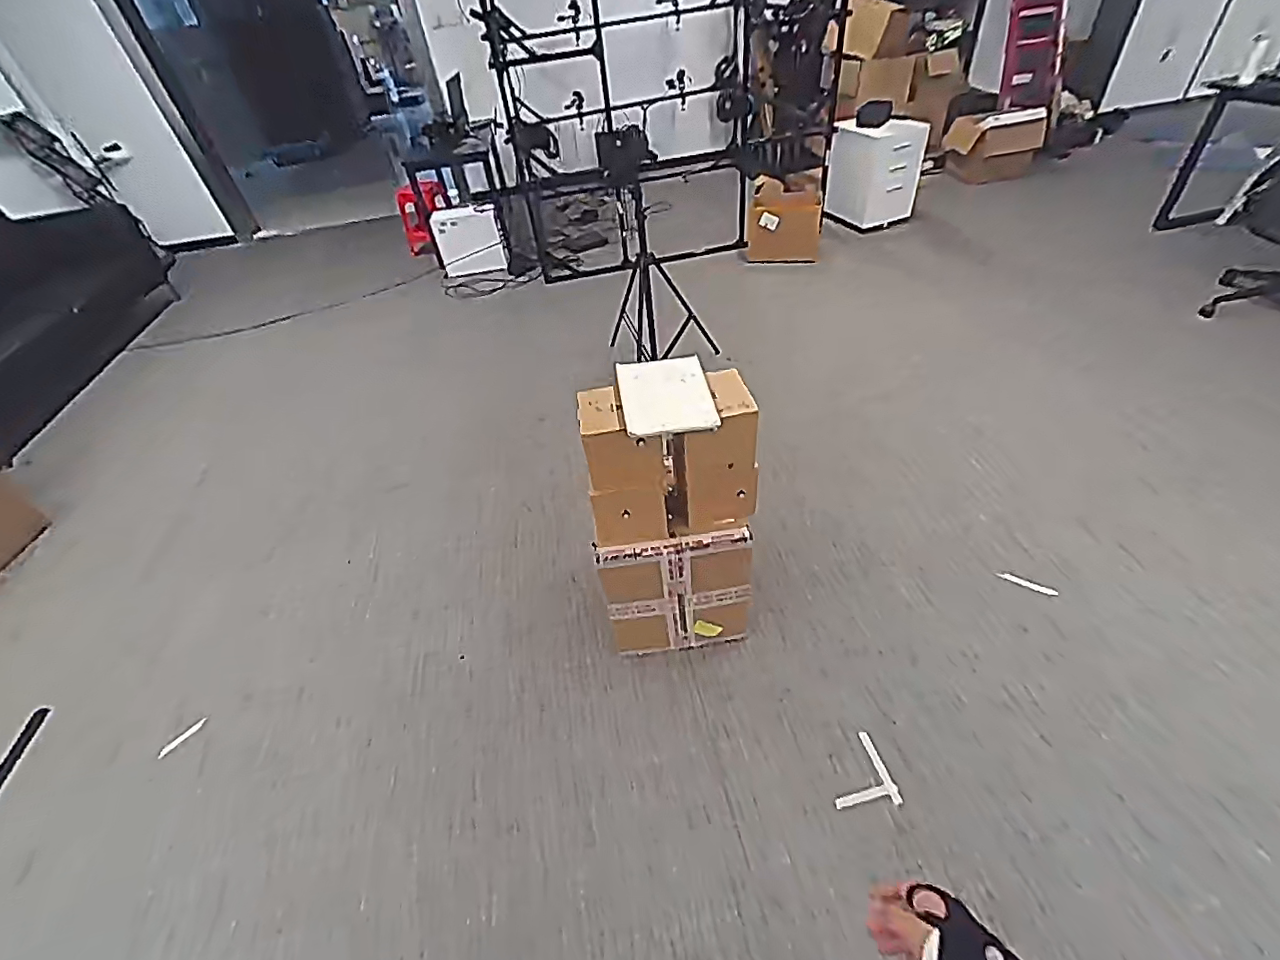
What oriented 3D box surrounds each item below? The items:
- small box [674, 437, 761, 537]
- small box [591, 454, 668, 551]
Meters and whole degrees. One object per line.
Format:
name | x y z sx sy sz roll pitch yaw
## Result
small box | 0.189 0.020 1.363 0.179 0.176 0.168 -12 44 -4
small box | -0.023 0.059 1.353 0.179 0.176 0.168 -7 44 3
